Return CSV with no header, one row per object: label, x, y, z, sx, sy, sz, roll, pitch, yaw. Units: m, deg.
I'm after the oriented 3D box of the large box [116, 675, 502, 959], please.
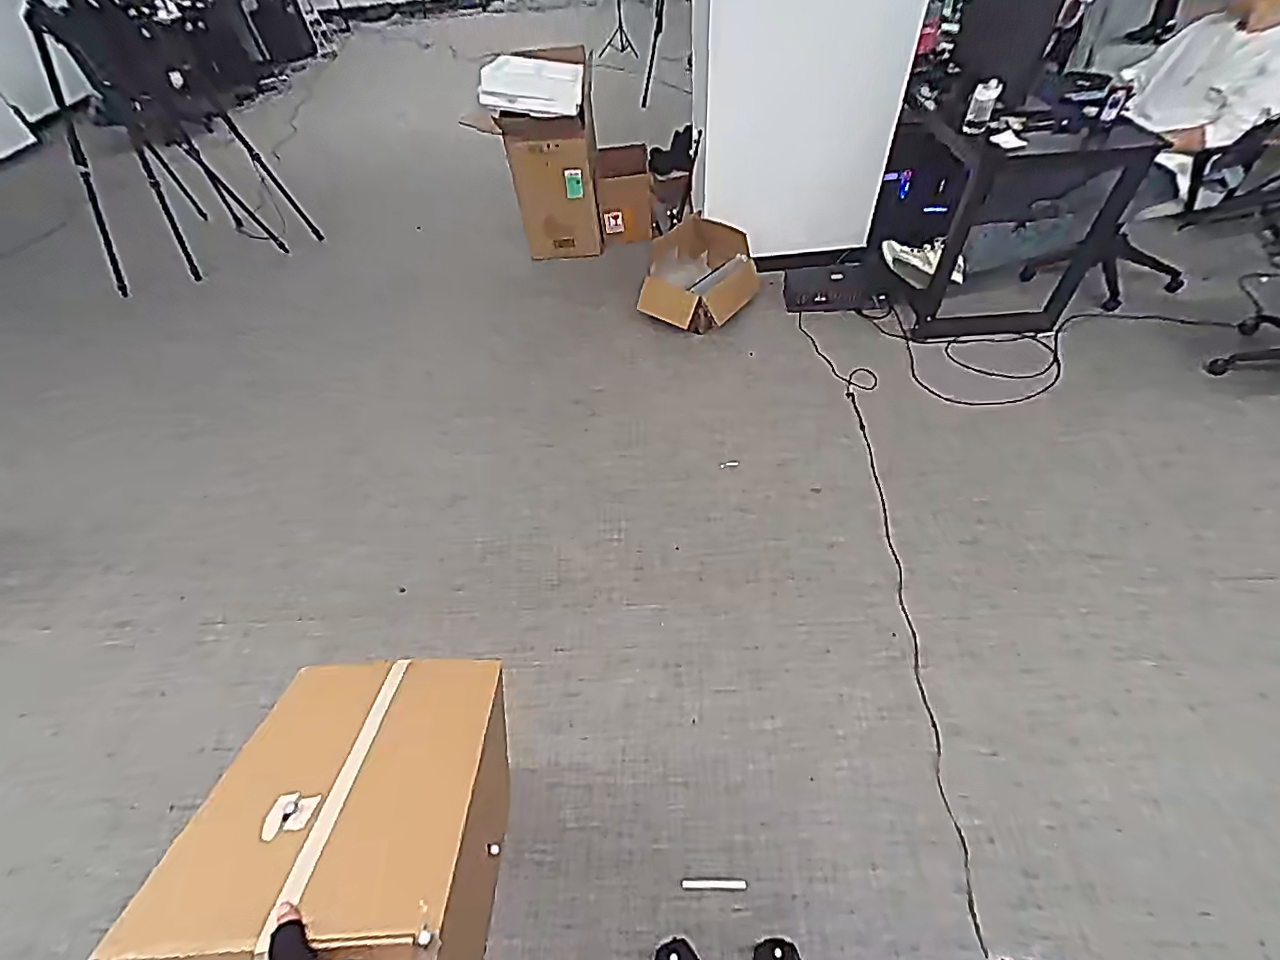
large box,-0.375,0.532,0.755,0.320,0.320,0.408,-1,21,-6
